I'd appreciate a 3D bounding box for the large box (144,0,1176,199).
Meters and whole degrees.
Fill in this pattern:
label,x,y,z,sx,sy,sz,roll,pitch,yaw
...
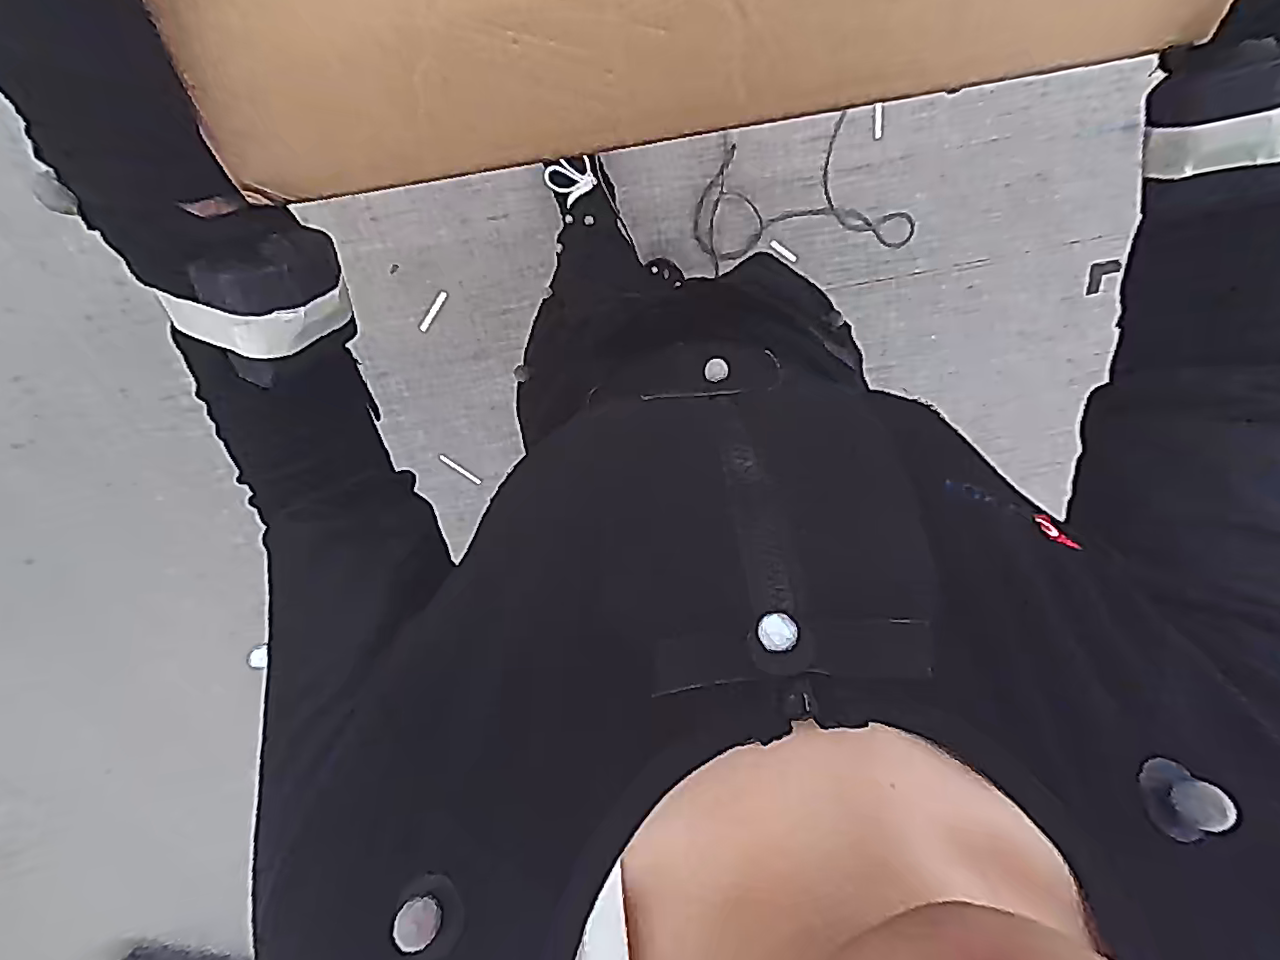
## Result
label,x,y,z,sx,sy,sz,roll,pitch,yaw
large box,-0.005,-0.368,0.224,0.408,0.320,0.320,-9,136,1
